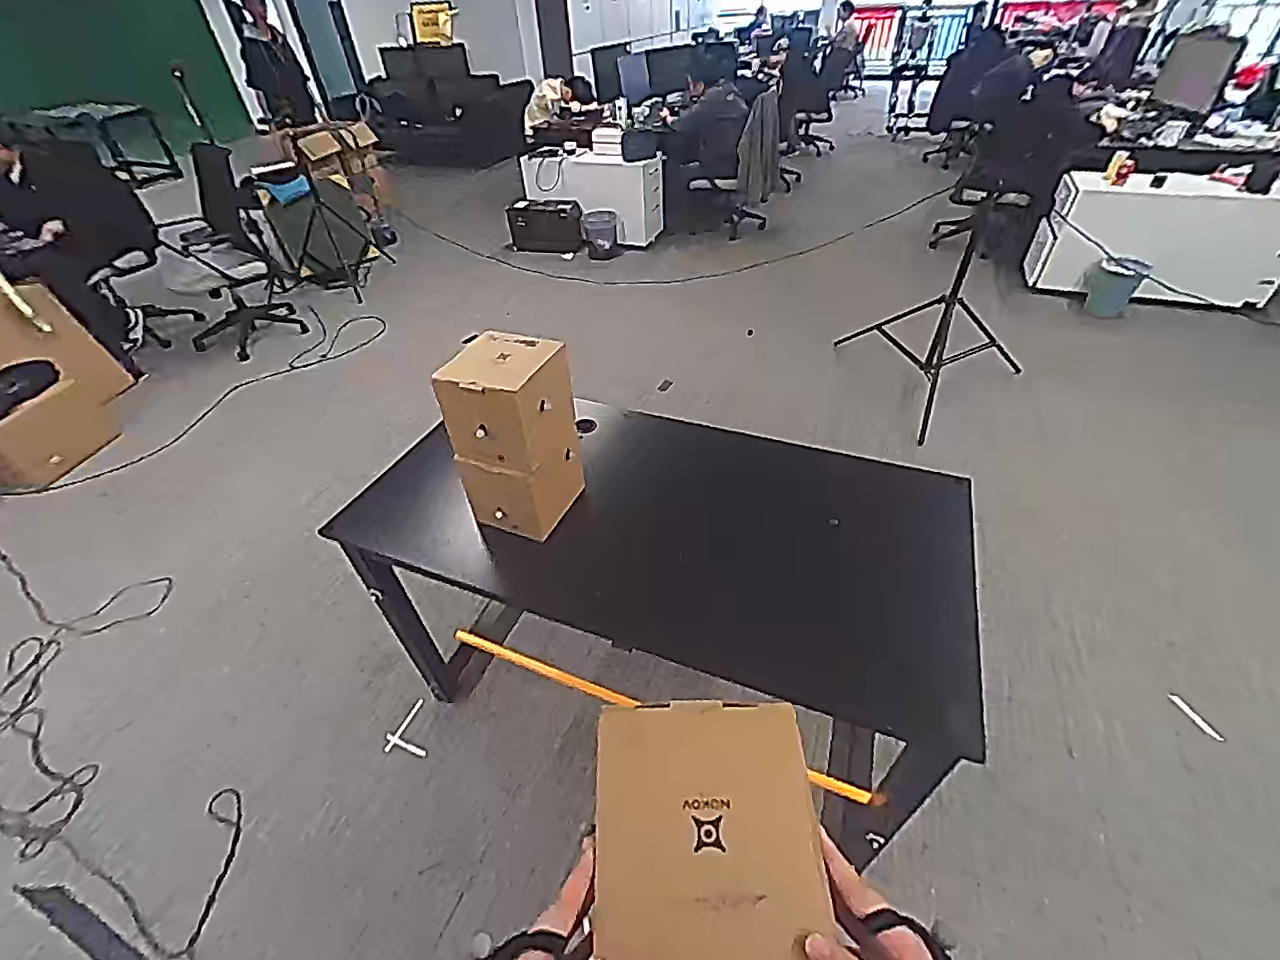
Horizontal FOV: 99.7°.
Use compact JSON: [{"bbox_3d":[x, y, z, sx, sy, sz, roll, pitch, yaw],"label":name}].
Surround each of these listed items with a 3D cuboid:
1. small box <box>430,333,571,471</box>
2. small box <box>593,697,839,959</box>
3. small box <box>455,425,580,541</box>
[{"bbox_3d":[-0.236,-0.140,0.971,0.168,0.176,0.179,13,45,17],"label":"small box"},{"bbox_3d":[0.045,0.302,0.466,0.168,0.176,0.179,1,52,-3],"label":"small box"},{"bbox_3d":[-0.231,-0.012,1.073,0.168,0.176,0.179,15,45,19],"label":"small box"}]
